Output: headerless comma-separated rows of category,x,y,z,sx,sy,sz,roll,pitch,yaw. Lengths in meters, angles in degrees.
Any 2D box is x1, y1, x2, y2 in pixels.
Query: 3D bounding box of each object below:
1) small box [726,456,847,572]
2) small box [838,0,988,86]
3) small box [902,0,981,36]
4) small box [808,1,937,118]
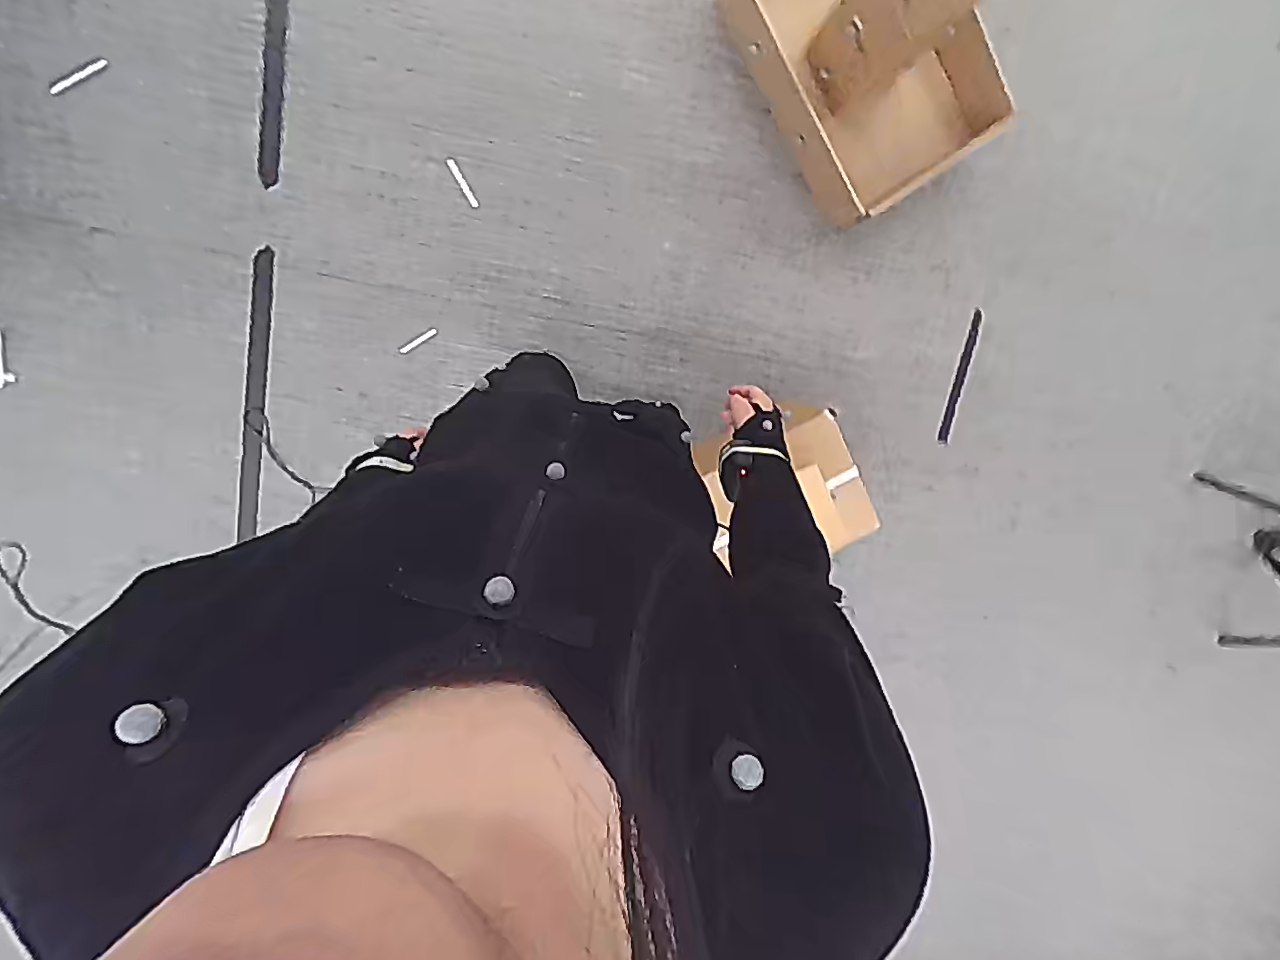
small box,0.300,0.061,1.142,0.168,0.176,0.179,-27,103,3
small box,0.518,-0.916,1.036,0.179,0.176,0.168,-31,102,4
small box,0.532,-0.884,0.875,0.179,0.176,0.168,-32,102,2
small box,0.505,-0.951,1.193,0.179,0.176,0.168,-29,102,3
